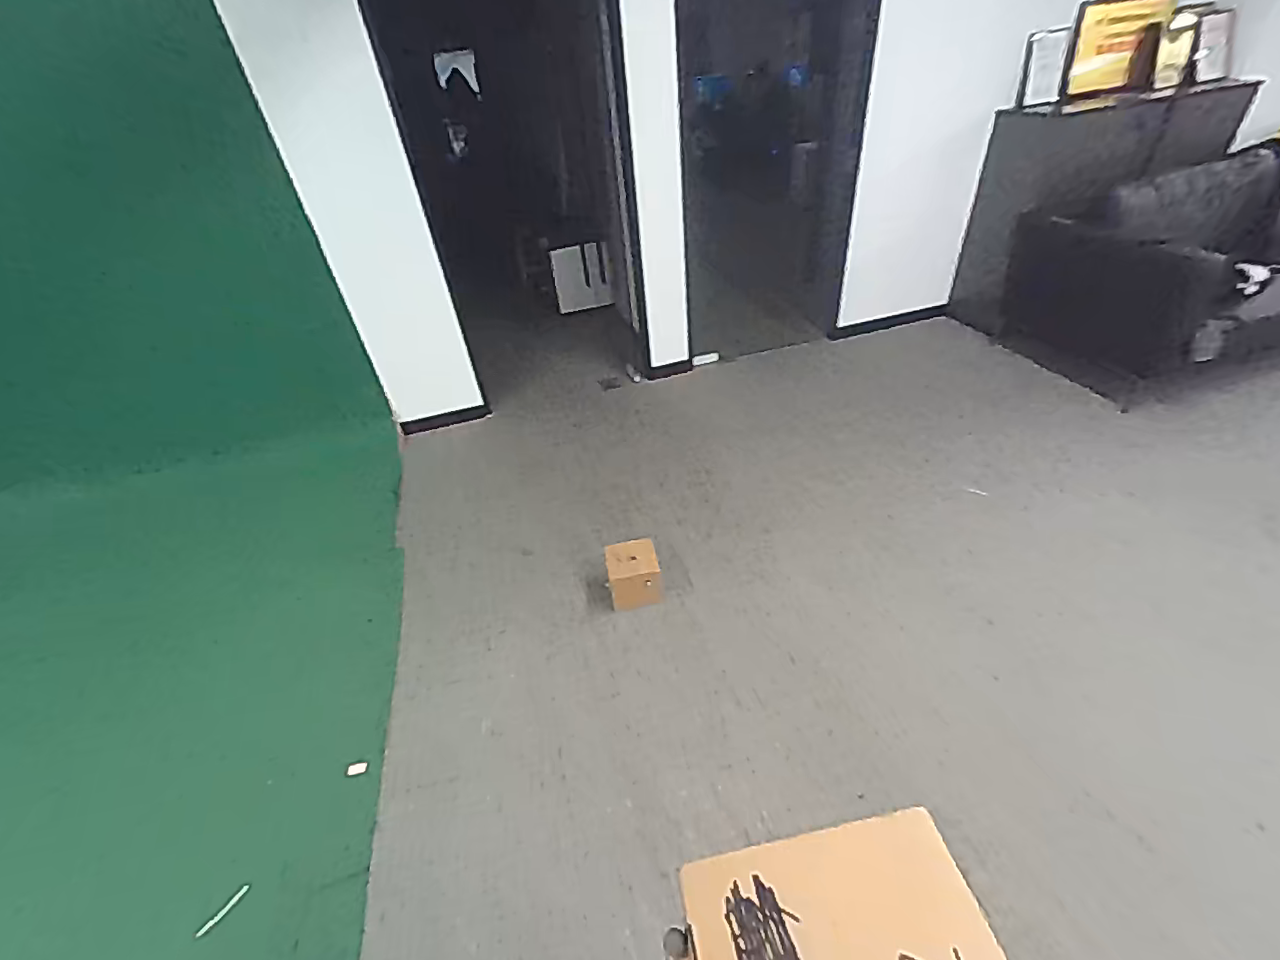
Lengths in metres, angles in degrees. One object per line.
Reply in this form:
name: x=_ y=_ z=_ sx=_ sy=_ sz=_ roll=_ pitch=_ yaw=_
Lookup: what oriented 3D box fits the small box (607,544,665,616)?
small box: x=-0.012 y=0.352 z=1.896 sx=0.179 sy=0.176 sz=0.168 roll=-11 pitch=38 yaw=-4
